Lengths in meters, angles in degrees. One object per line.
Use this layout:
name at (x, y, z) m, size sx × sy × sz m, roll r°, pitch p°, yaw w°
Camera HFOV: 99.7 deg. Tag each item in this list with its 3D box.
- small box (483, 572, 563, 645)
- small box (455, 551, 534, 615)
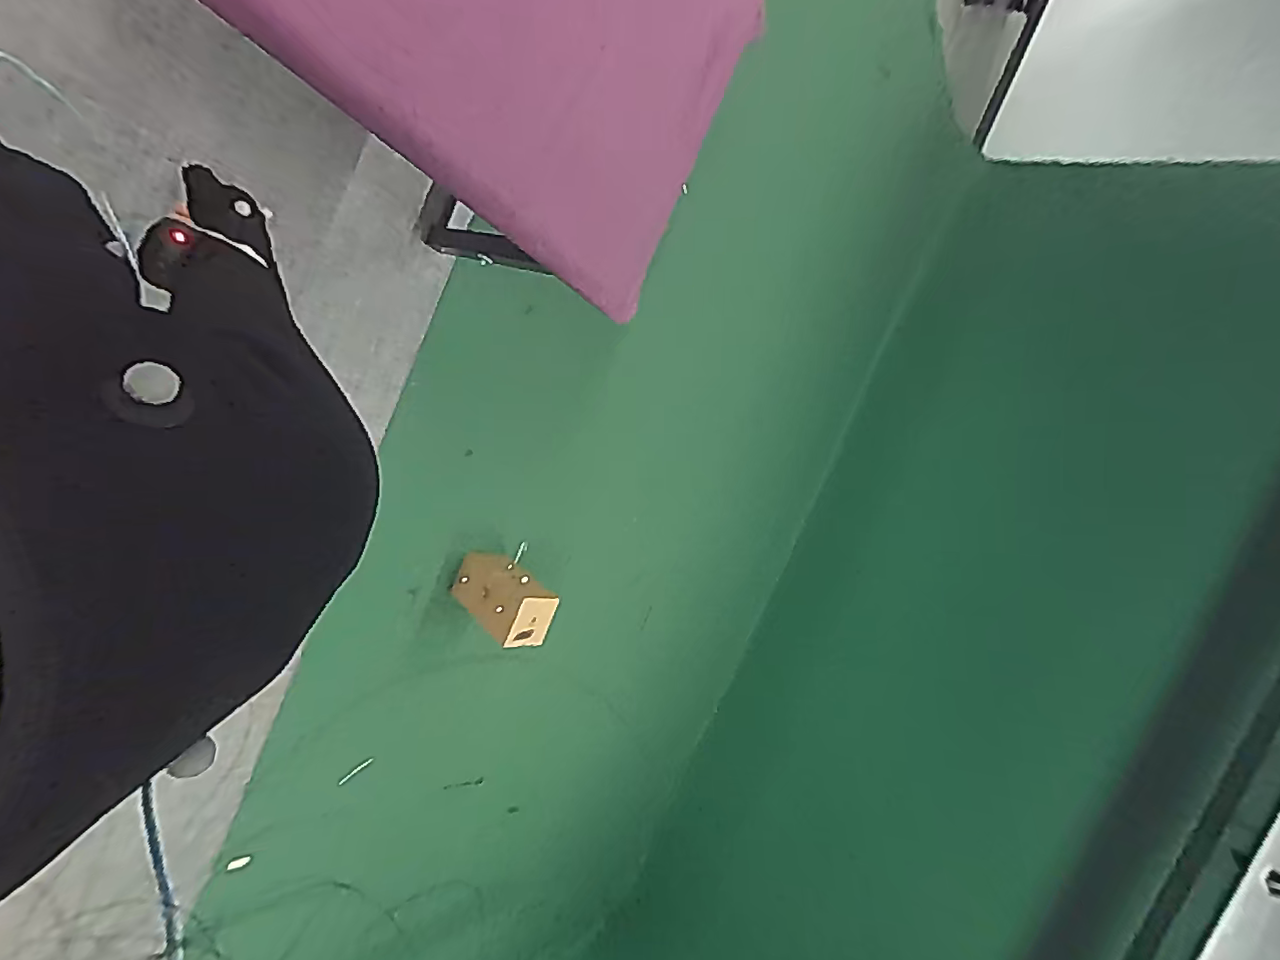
small box at (-0.395, 0.429, 1.804) m, size 0.168 × 0.176 × 0.179 m, roll 22°, pitch 95°, yaw -54°
small box at (-0.512, 0.362, 1.904) m, size 0.179 × 0.176 × 0.168 m, roll 19°, pitch 96°, yaw -52°
